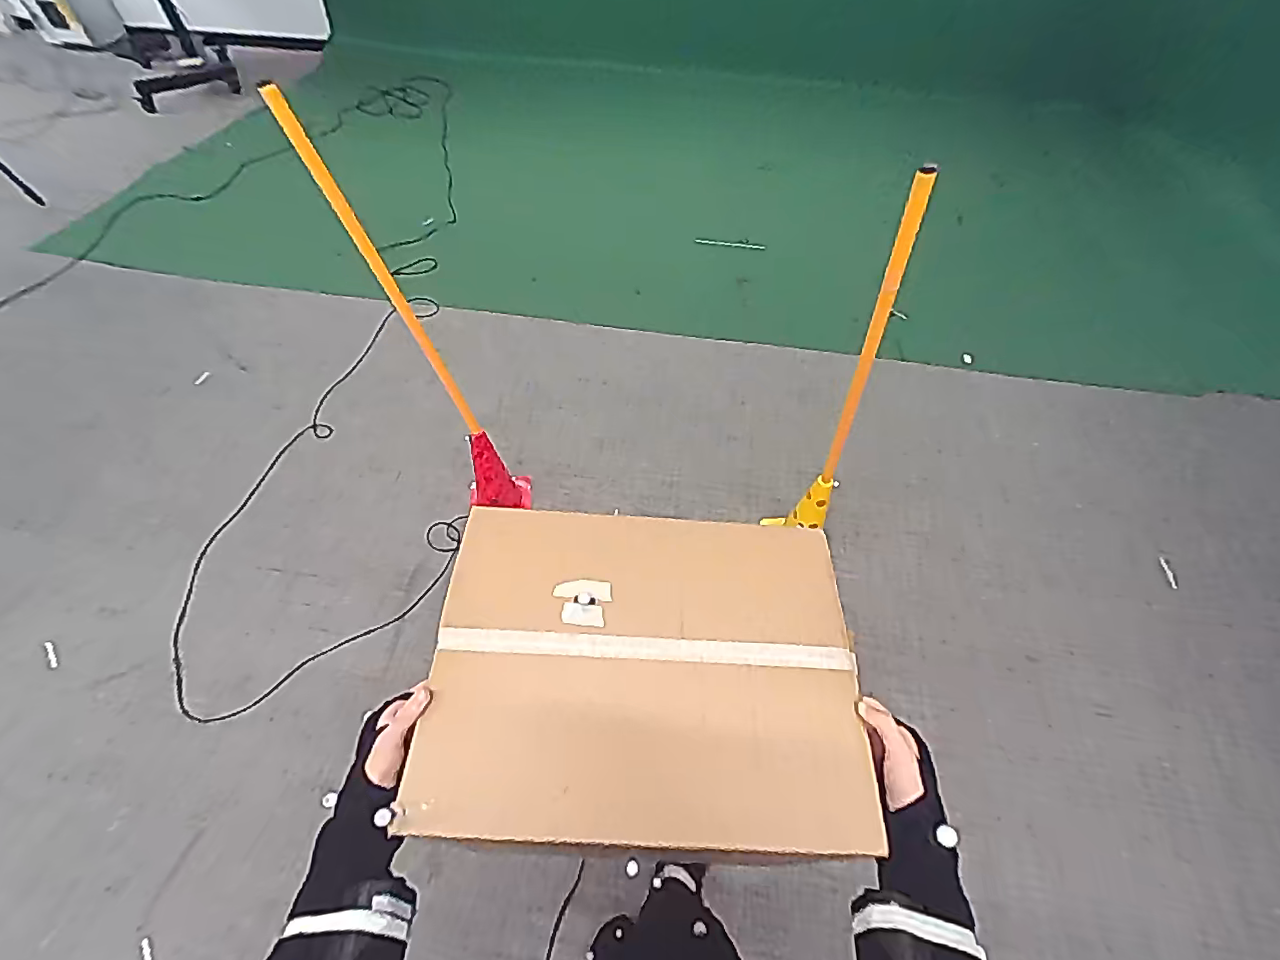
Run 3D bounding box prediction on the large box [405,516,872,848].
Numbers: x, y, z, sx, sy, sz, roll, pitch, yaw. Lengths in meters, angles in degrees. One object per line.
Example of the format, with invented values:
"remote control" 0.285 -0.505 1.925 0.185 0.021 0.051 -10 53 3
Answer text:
"large box" -0.001 0.260 0.660 0.408 0.320 0.320 3 53 -1
